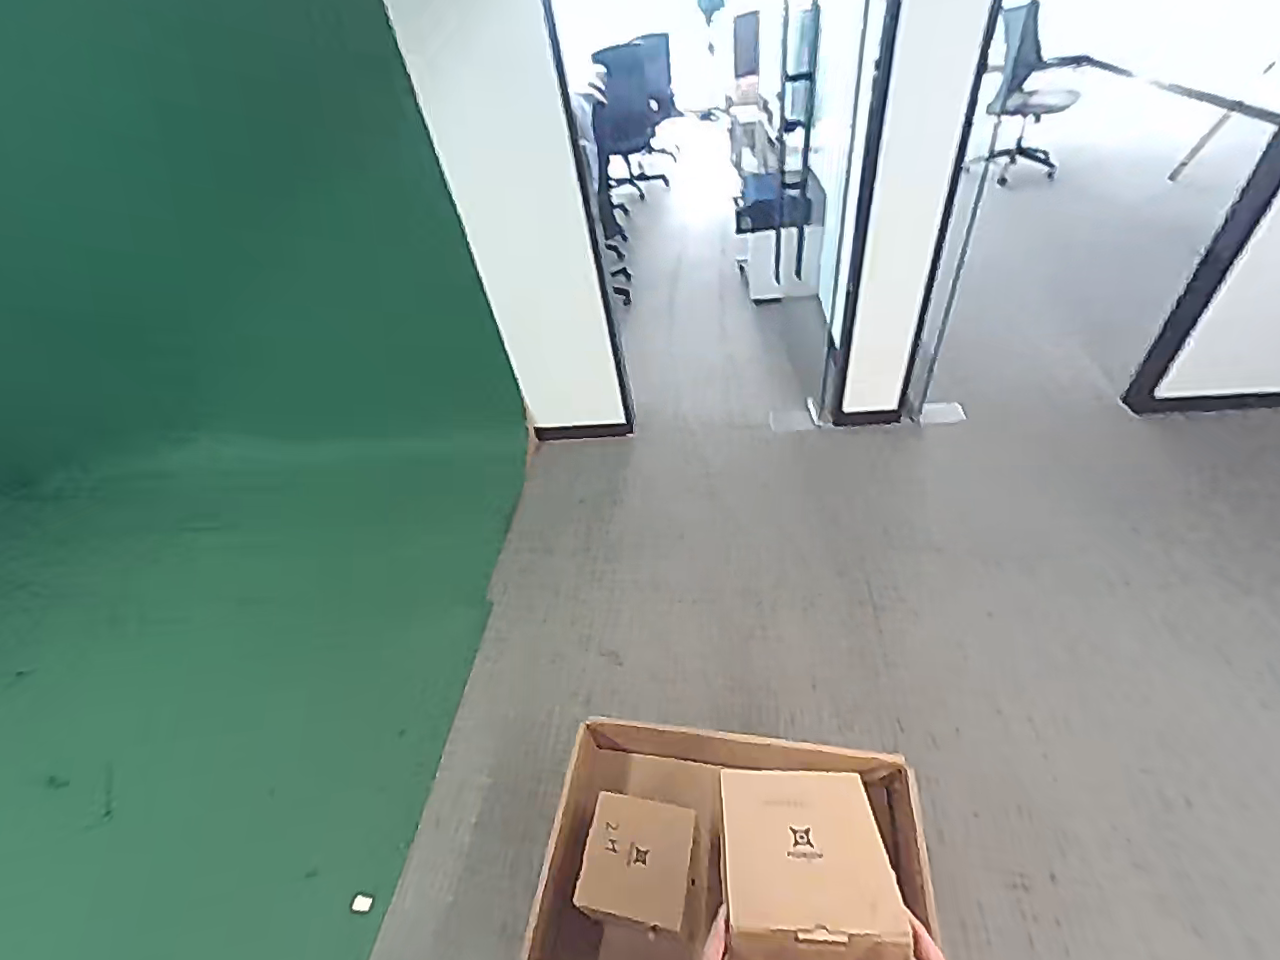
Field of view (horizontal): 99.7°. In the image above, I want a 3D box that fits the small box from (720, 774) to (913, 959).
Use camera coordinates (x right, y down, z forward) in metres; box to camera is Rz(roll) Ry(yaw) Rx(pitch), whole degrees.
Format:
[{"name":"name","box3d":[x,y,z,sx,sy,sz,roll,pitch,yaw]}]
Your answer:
[{"name":"small box","box3d":[0.175,0.456,0.587,0.168,0.176,0.179,-2,20,6]}]
